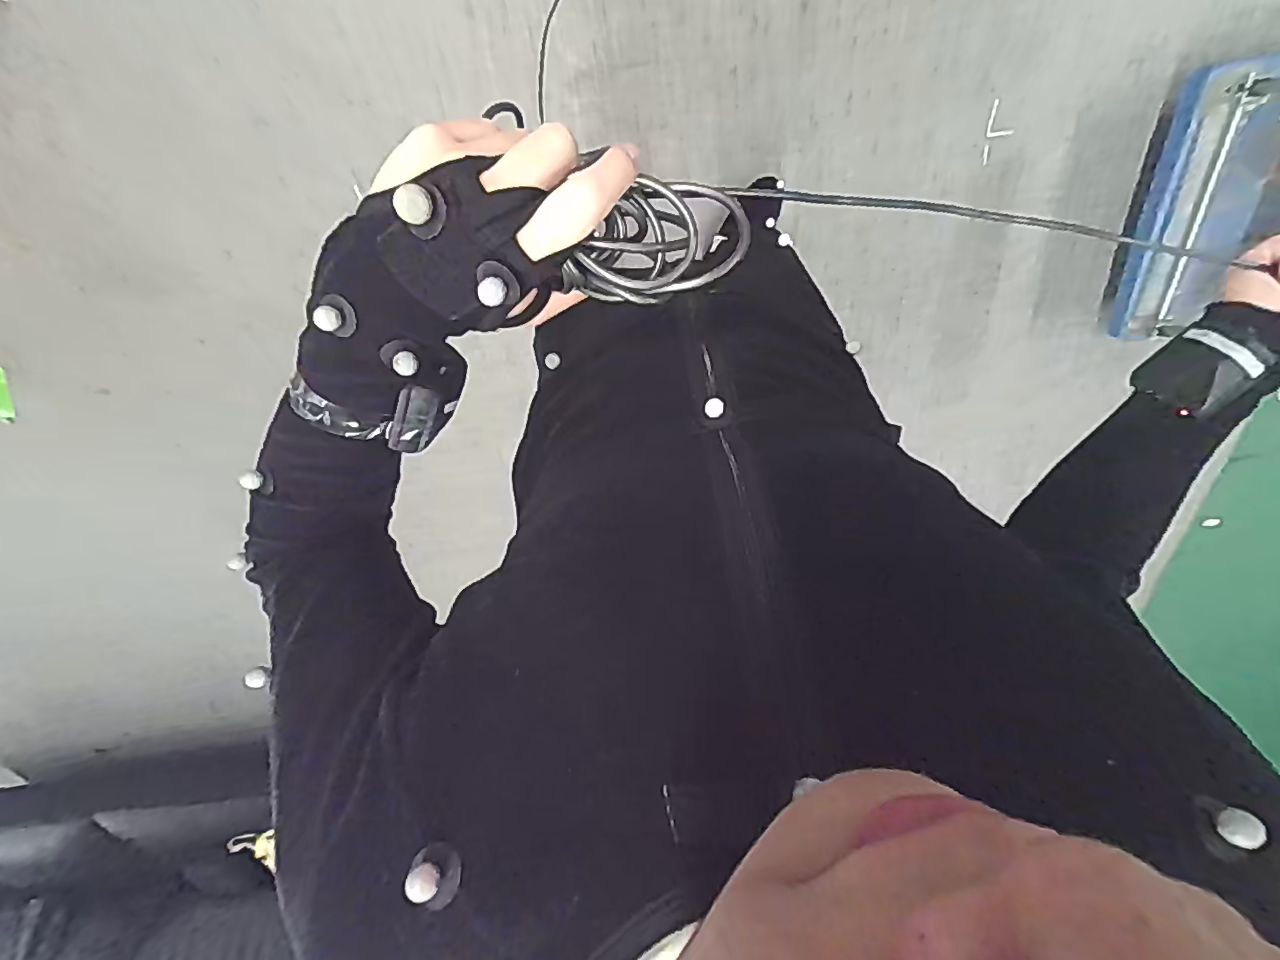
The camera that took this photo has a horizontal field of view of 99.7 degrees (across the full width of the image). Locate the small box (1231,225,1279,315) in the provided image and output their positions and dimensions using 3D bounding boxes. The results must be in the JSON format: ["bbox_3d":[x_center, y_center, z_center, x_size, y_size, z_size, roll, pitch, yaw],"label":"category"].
[{"bbox_3d":[1.507,-0.472,1.197,0.179,0.176,0.168,-6,123,5],"label":"small box"}]
